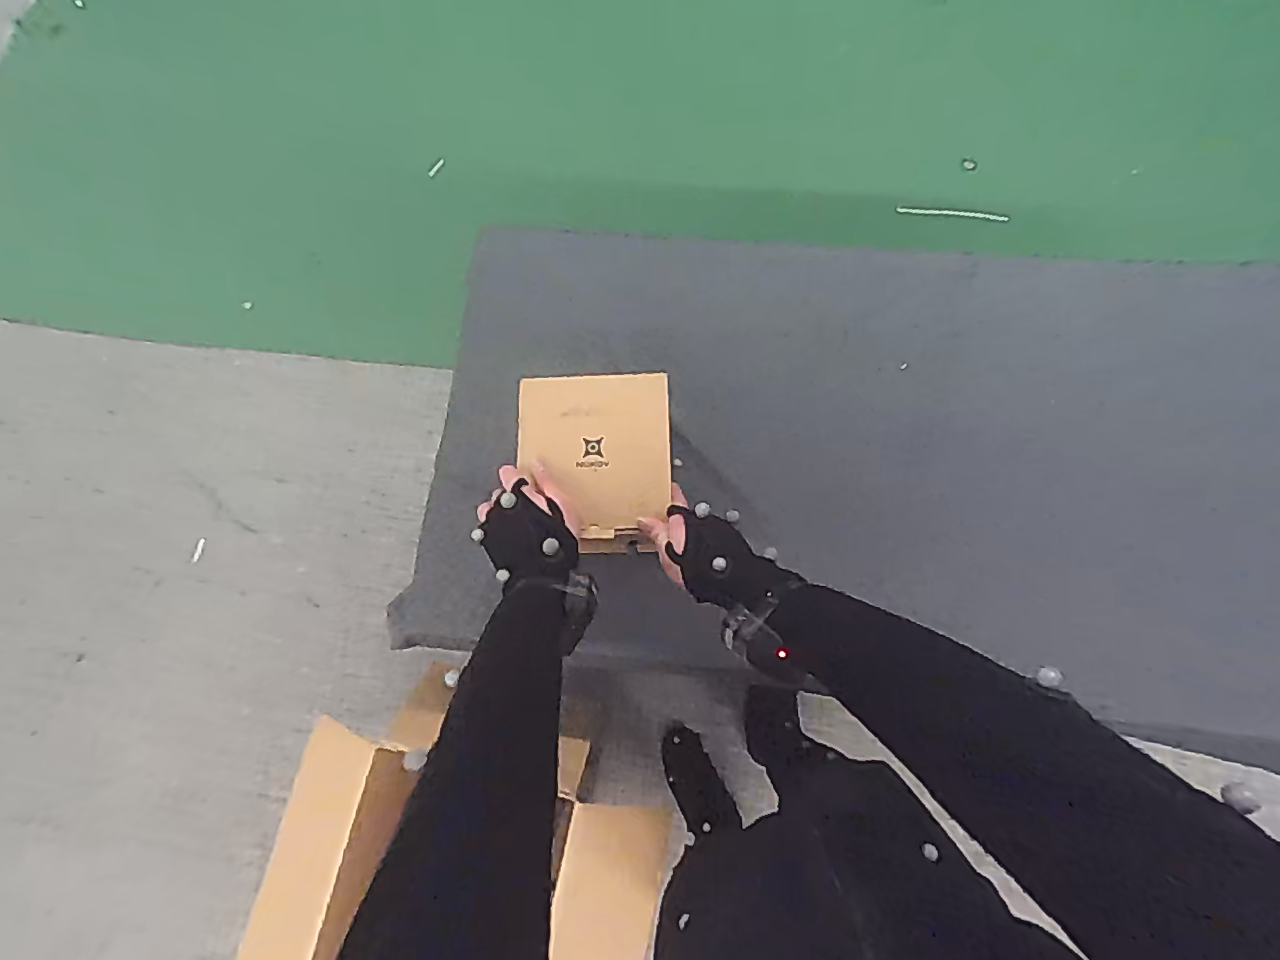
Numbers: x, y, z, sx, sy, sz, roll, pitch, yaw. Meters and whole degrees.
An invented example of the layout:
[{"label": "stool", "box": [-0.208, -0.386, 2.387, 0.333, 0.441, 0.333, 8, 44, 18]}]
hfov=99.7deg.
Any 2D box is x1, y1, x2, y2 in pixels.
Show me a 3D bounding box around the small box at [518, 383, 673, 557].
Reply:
[{"label": "small box", "box": [-0.044, 0.000, 0.657, 0.168, 0.176, 0.179, -3, 74, 2]}]
